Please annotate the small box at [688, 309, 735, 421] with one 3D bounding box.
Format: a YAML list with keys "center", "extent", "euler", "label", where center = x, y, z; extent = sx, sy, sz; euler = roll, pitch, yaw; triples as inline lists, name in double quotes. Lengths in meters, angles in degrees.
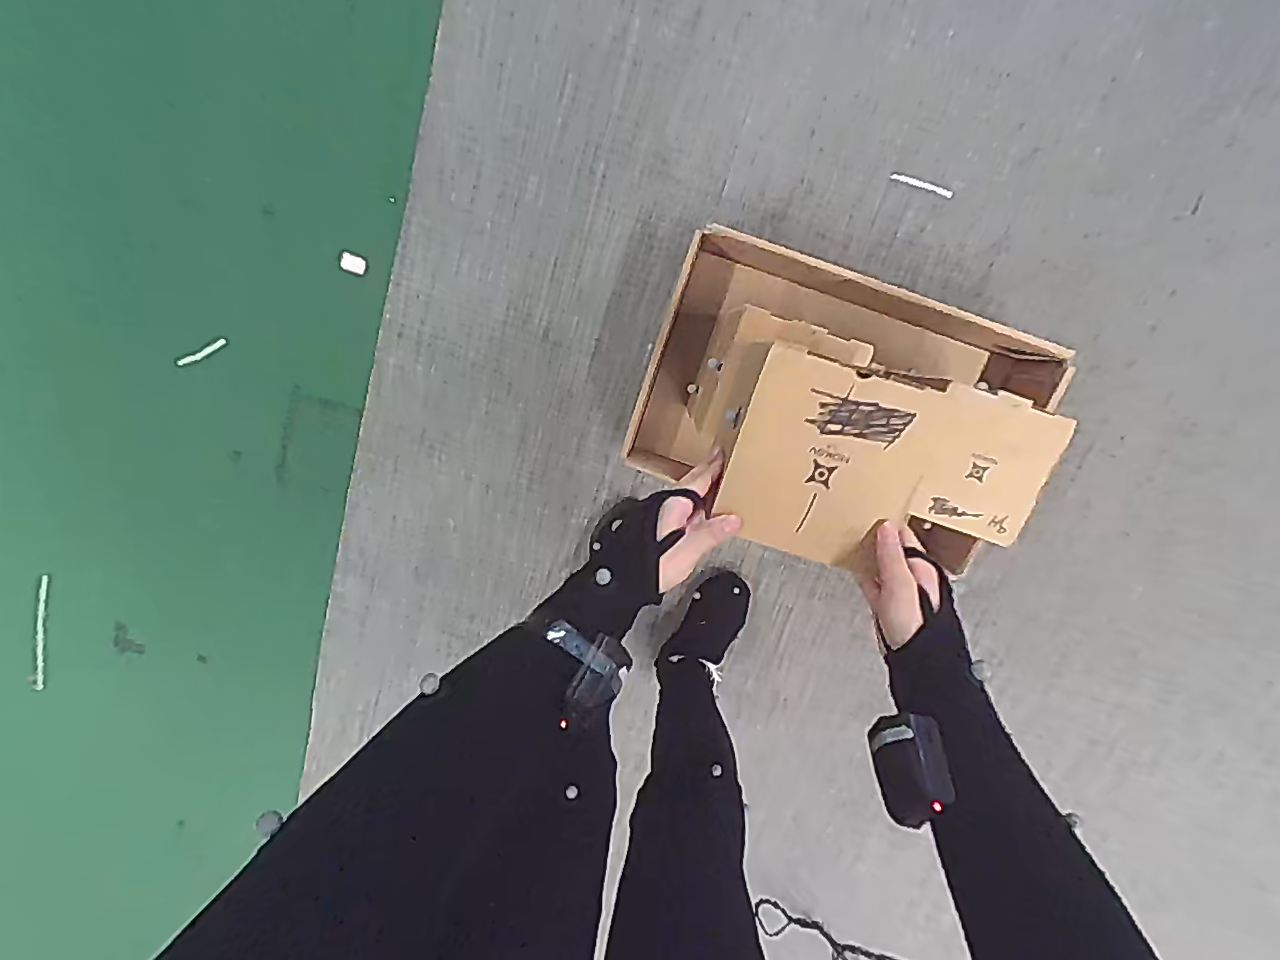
- center: [0.185, -0.169, 0.899]
  extent: [0.168, 0.176, 0.179]
  euler: [19, 104, -2]
  label: "small box"

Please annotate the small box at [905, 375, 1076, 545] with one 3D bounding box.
- center: [0.430, -0.039, 0.749]
  extent: [0.168, 0.176, 0.179]
  euler: [19, 104, 1]
  label: "small box"

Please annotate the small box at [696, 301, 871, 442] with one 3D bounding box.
- center: [0.181, -0.128, 0.743]
  extent: [0.168, 0.176, 0.179]
  euler: [18, 104, -1]
  label: "small box"

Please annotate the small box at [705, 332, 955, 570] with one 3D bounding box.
- center: [0.168, -0.040, 0.548]
  extent: [0.168, 0.176, 0.179]
  euler: [18, 105, 0]
  label: "small box"
